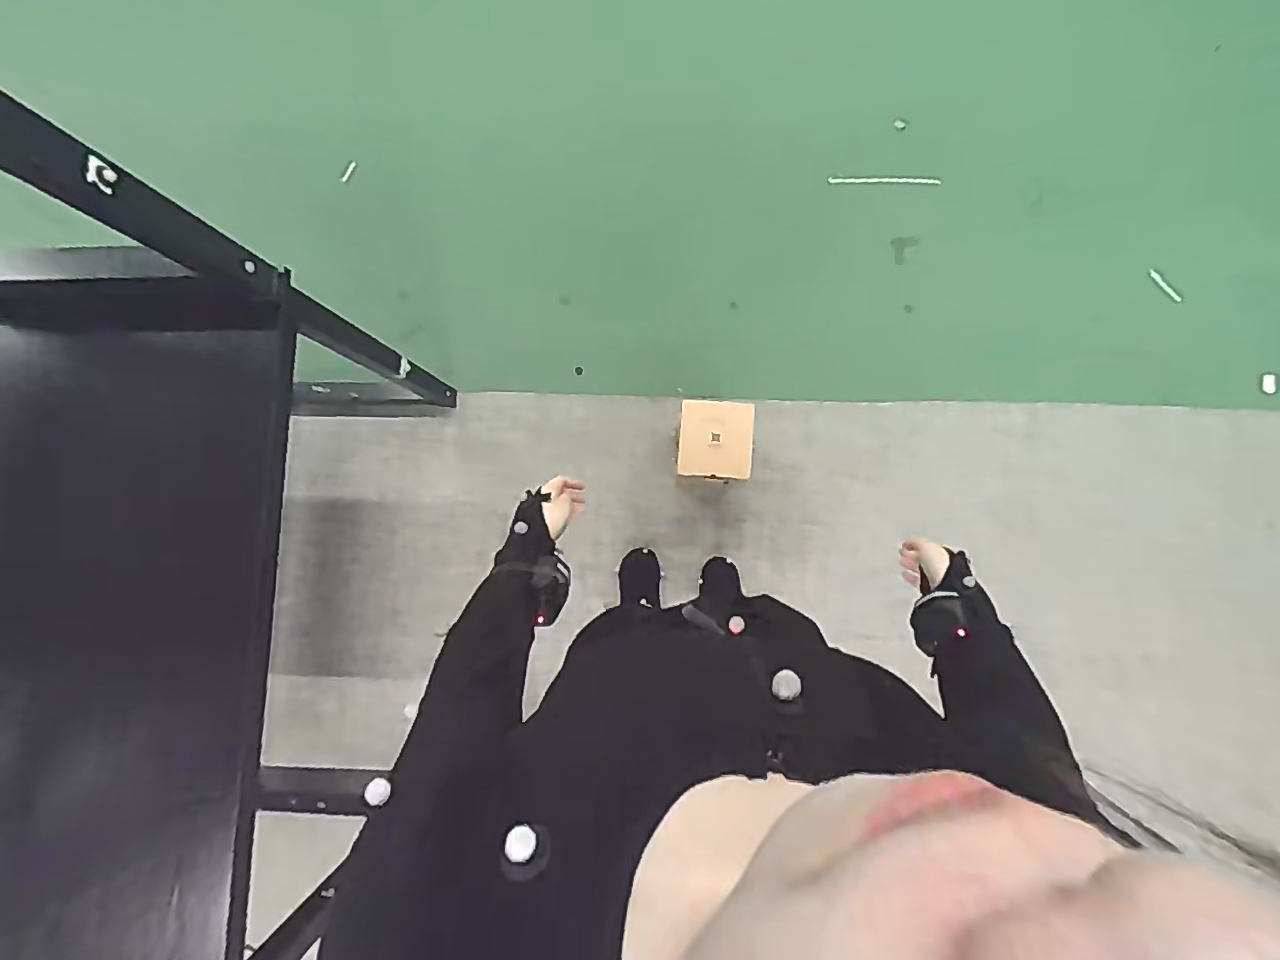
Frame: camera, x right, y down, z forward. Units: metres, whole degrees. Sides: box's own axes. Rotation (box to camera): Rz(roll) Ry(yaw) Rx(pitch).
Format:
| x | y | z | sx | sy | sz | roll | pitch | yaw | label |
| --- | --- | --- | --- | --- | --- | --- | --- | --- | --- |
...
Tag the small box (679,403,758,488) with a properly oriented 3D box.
| x | y | z | sx | sy | sz | roll | pitch | yaw | label |
| --- | --- | --- | --- | --- | --- | --- | --- | --- | --- |
| 0.179 | -0.074 | 1.273 | 0.168 | 0.176 | 0.179 | 4 | 85 | 3 | small box |
